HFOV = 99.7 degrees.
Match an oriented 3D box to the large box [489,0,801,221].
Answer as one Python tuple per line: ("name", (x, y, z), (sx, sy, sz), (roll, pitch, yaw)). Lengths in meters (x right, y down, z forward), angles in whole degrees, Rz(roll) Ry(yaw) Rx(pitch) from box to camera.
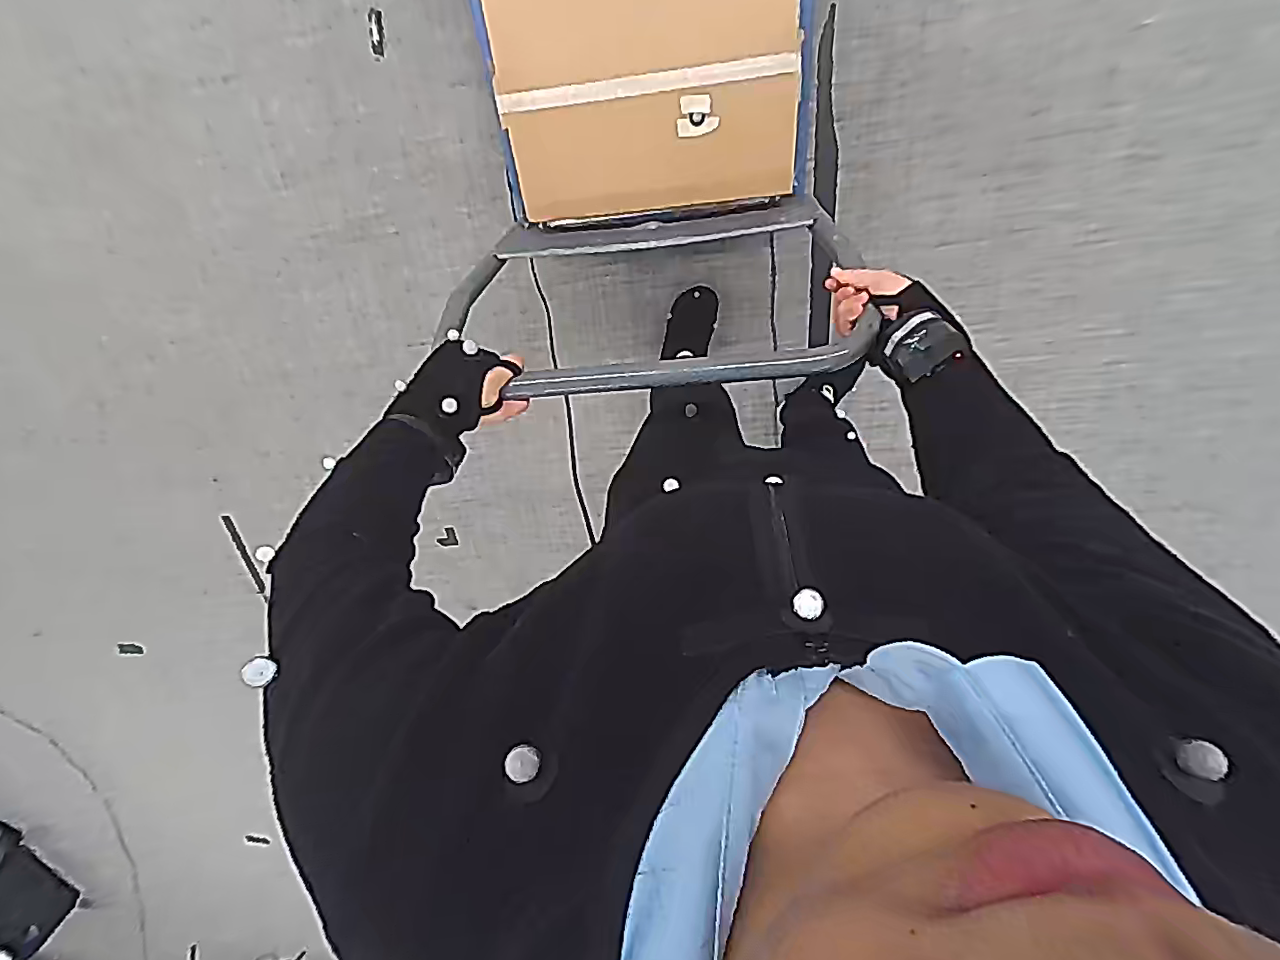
("large box", (0.020, -0.628, 0.862), (0.408, 0.320, 0.320), (-4, 125, 6))
